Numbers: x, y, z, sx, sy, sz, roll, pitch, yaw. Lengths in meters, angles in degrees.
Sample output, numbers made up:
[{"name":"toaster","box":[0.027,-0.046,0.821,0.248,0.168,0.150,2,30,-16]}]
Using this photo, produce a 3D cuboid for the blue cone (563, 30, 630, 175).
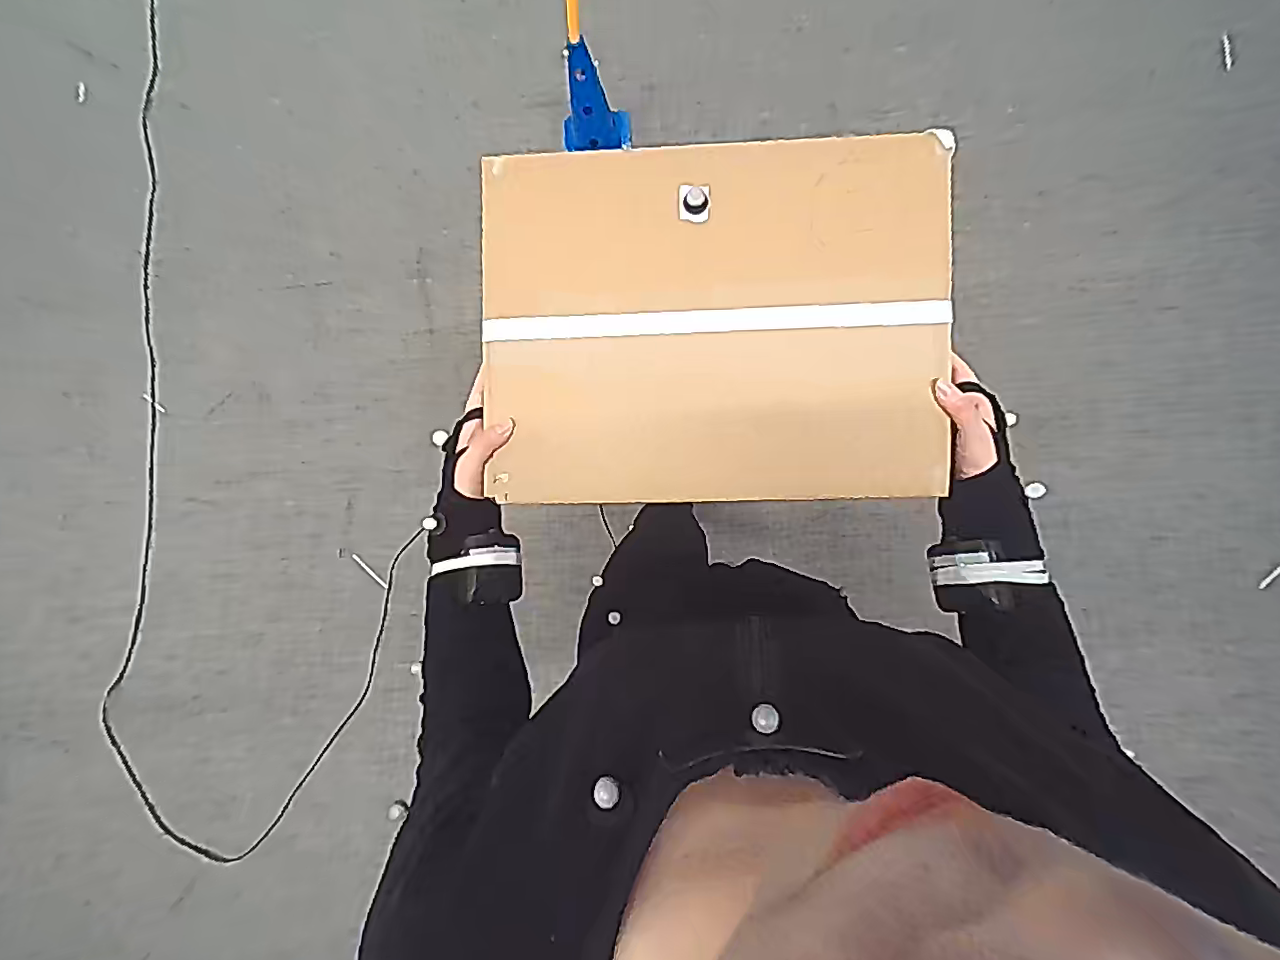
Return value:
[{"name":"blue cone","box":[-0.138,-1.006,1.419,0.193,0.380,0.192,-5,85,3]}]
